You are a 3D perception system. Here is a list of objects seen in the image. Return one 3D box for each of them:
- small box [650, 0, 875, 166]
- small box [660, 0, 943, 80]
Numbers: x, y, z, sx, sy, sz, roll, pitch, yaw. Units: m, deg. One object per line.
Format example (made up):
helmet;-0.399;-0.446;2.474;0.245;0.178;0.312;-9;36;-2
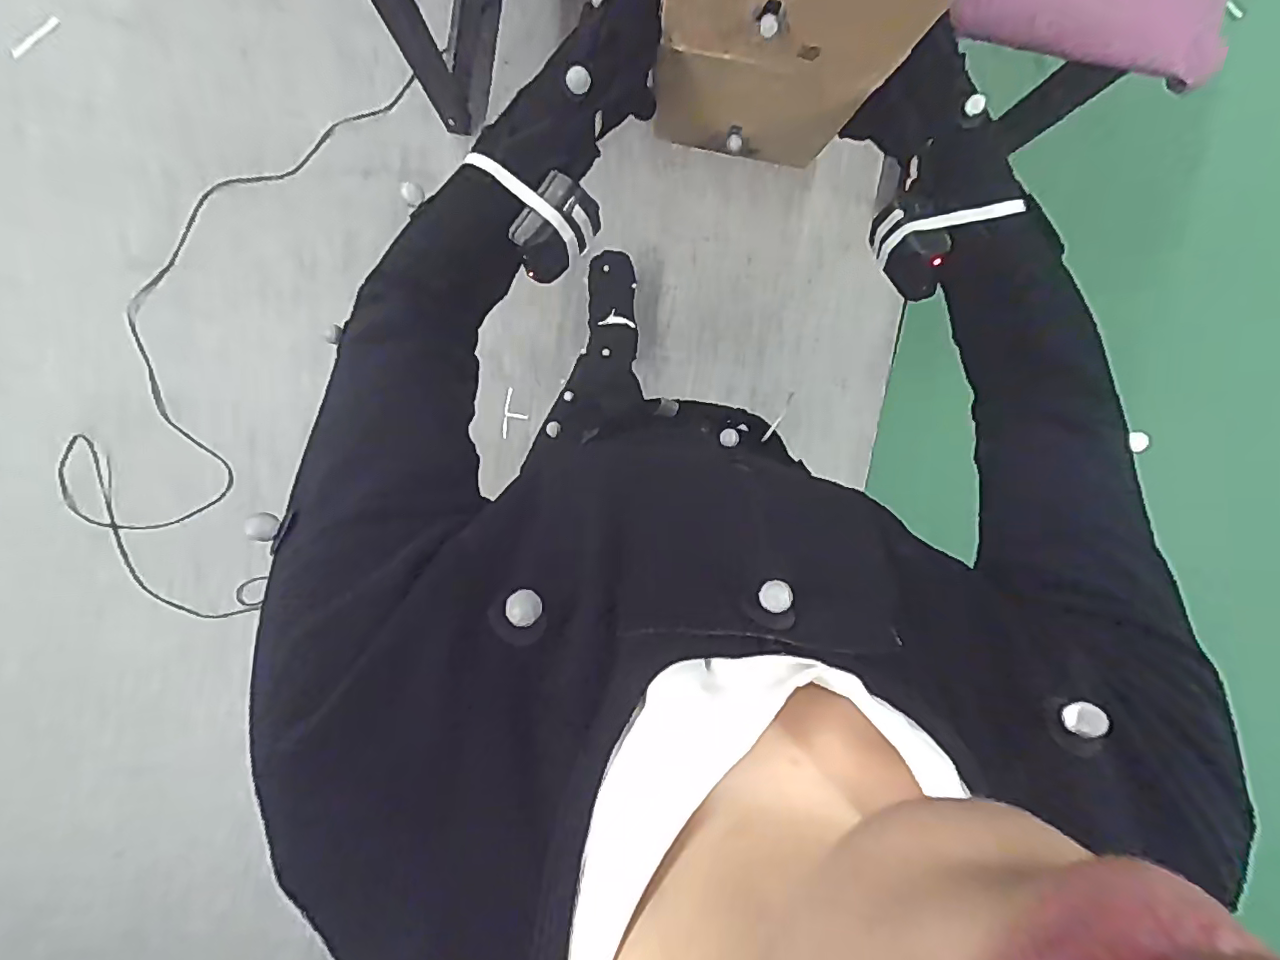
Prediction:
small box;0.103;-0.398;0.450;0.168;0.176;0.179;10;102;-3
small box;0.106;-0.365;0.290;0.168;0.176;0.179;8;103;-3
